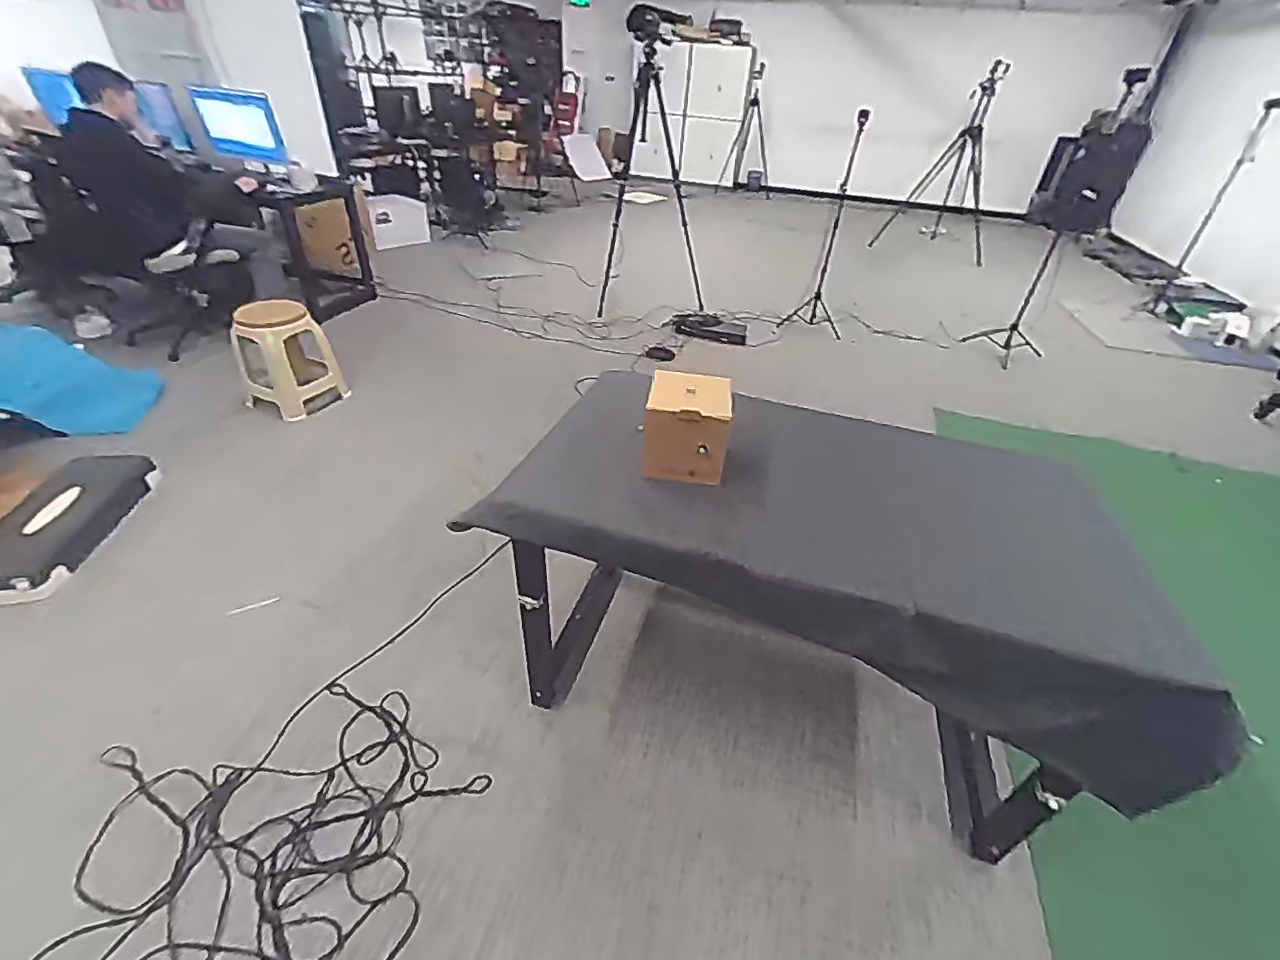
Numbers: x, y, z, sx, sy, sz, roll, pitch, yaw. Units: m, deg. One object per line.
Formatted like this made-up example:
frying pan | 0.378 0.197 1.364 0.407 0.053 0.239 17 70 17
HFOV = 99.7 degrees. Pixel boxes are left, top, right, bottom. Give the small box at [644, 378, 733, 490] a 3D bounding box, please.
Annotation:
small box | 0.102 -0.096 1.143 0.168 0.176 0.179 7 35 3
